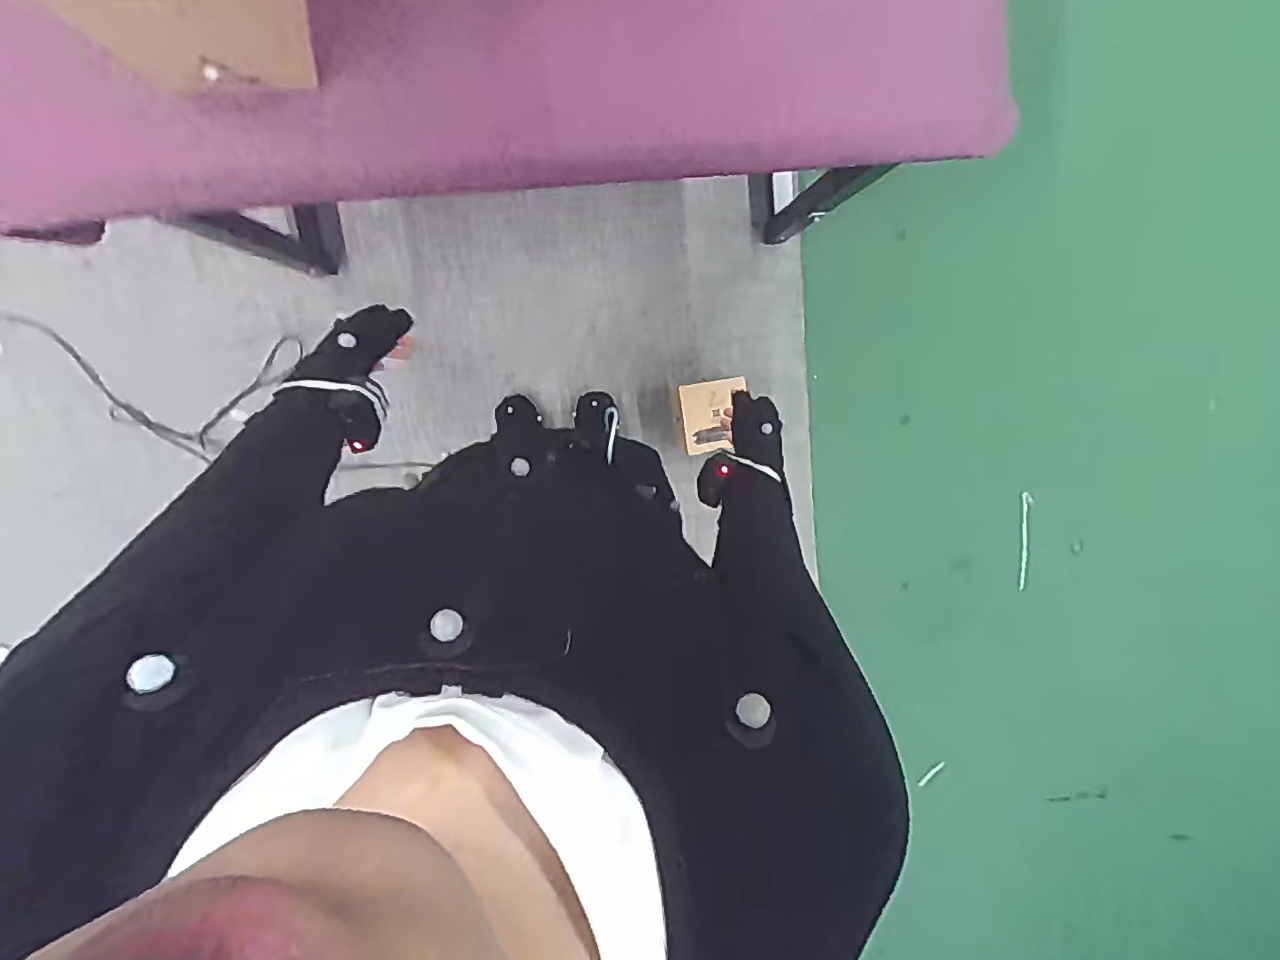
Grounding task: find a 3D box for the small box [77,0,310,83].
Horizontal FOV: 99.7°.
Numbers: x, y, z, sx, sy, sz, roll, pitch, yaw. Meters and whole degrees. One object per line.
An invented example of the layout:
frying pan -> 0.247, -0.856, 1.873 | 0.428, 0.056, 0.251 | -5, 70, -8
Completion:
small box -> -0.447, -0.523, 0.516 | 0.168, 0.176, 0.179 | -3, 102, -6
